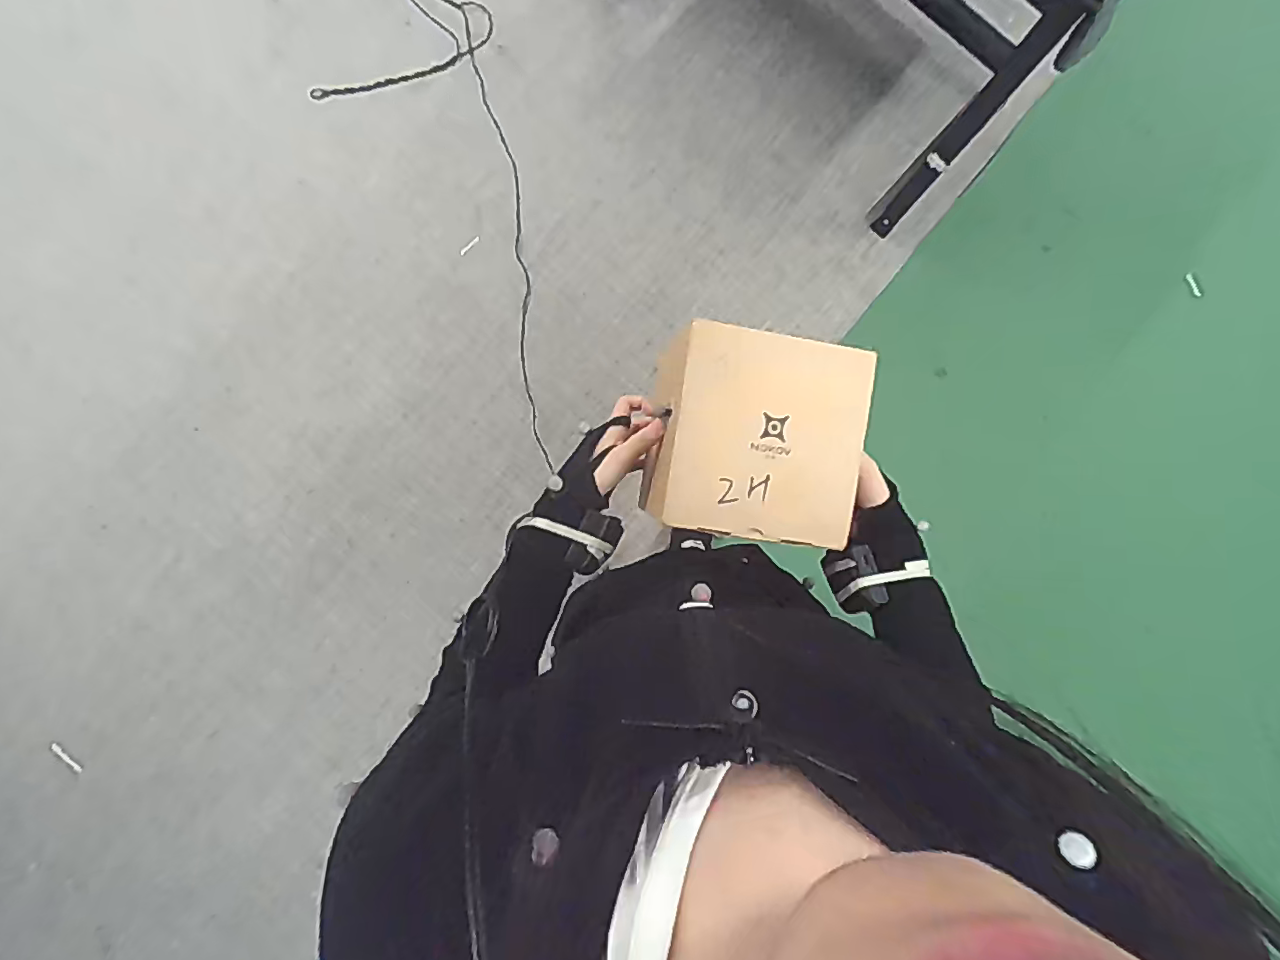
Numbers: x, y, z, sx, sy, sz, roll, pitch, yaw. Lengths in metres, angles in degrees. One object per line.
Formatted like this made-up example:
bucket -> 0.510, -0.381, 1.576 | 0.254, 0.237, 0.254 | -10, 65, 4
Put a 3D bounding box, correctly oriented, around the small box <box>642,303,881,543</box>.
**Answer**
small box -> 0.101, -0.047, 0.524 | 0.168, 0.176, 0.179 | 9, 91, -7
